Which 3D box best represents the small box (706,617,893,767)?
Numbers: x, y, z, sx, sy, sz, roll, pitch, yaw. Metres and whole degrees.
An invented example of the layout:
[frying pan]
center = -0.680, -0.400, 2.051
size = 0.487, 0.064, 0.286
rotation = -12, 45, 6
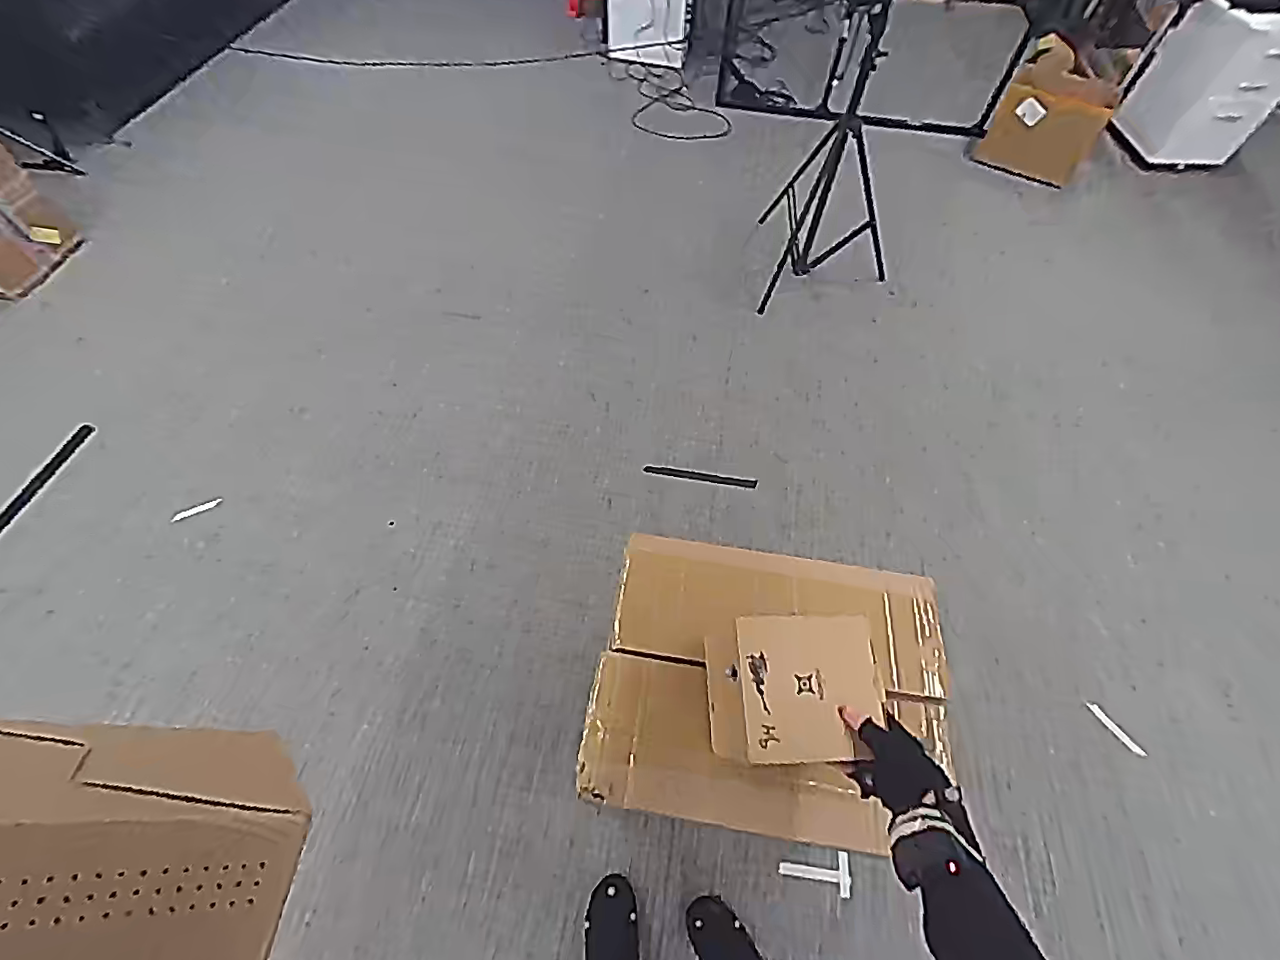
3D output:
[small box]
center = 0.196, 0.275, 0.715
size = 0.179, 0.176, 0.168
rotation = 1, 67, -7
